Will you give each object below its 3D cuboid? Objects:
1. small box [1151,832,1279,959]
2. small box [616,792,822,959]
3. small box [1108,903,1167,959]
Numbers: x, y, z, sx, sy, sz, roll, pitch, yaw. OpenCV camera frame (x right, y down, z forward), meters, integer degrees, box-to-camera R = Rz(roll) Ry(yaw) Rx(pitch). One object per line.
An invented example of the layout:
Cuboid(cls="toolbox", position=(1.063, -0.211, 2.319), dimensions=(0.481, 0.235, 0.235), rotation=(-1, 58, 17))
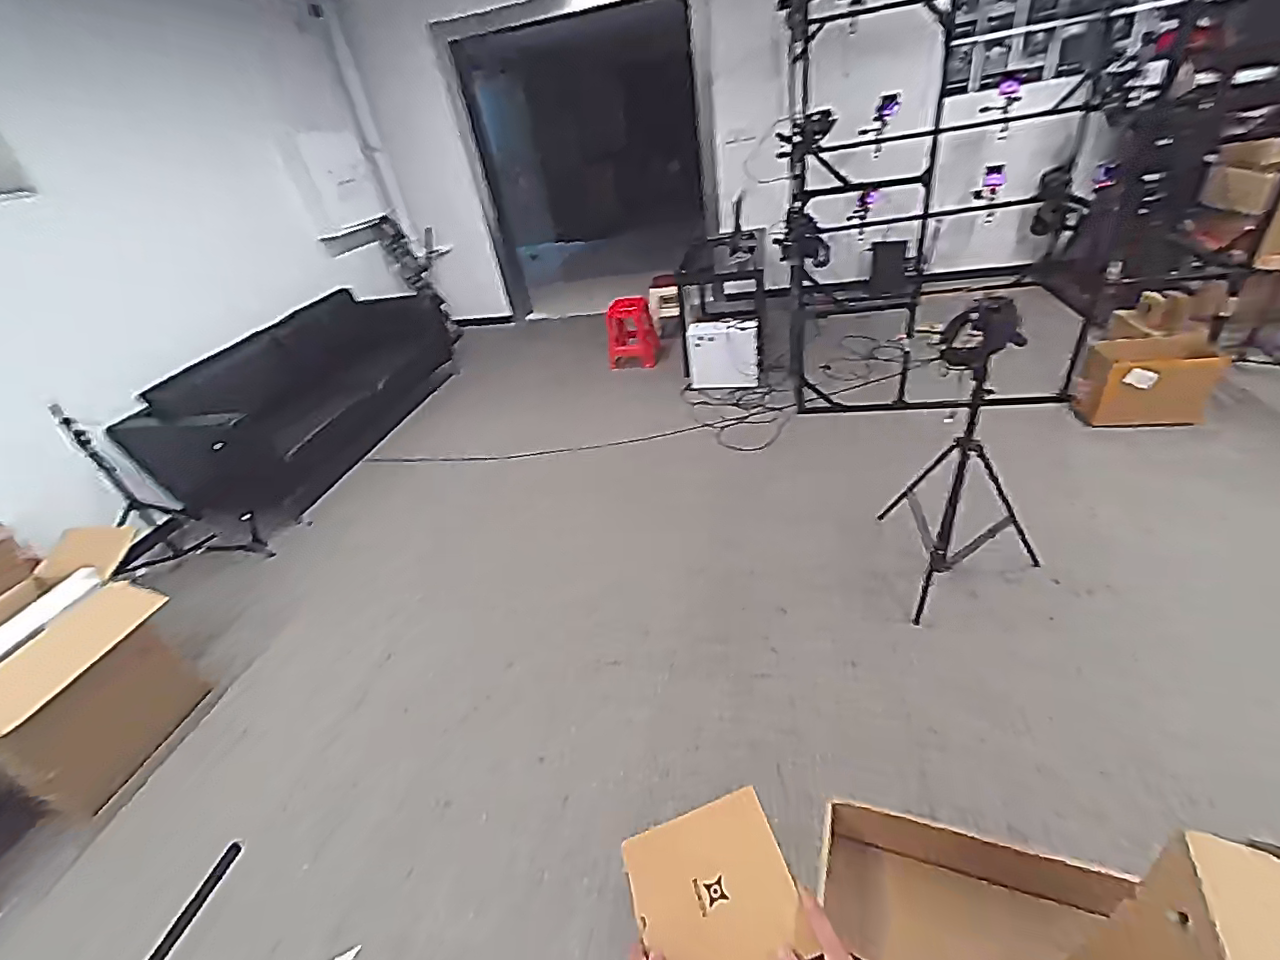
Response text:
Cuboid(cls="small box", position=(0.681, 0.522, 0.562), dimensions=(0.168, 0.176, 0.179), rotation=(5, 35, 25))
Cuboid(cls="small box", position=(0.093, 0.503, 0.623), dimensions=(0.179, 0.176, 0.168), rotation=(-23, 39, -3))
Cuboid(cls="small box", position=(0.705, 0.659, 0.649), dimensions=(0.179, 0.176, 0.168), rotation=(2, 35, 20))
